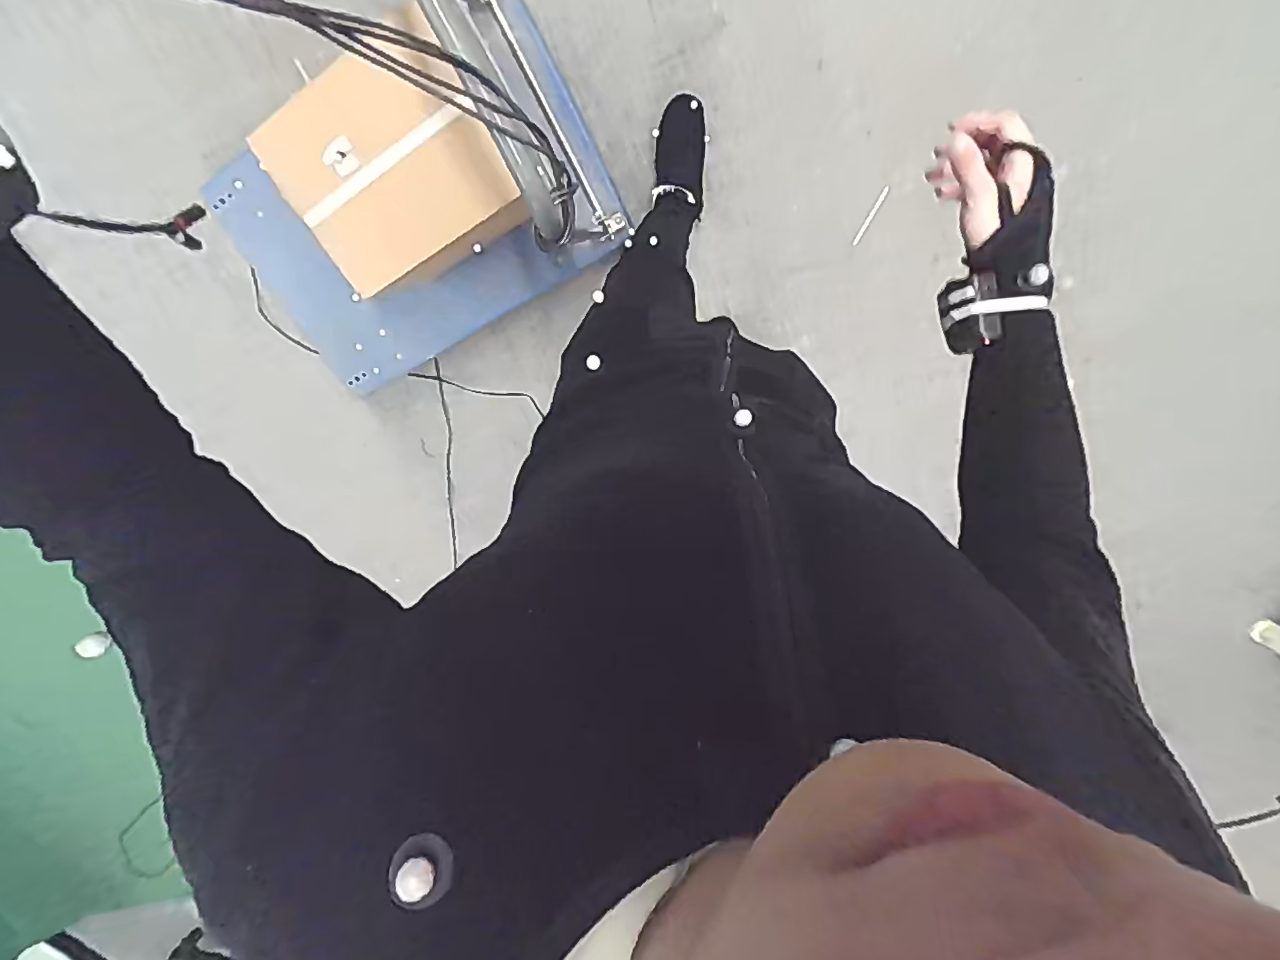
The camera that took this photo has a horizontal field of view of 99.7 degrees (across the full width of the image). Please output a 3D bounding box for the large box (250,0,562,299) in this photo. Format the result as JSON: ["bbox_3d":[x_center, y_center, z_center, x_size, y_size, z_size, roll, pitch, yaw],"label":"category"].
[{"bbox_3d":[-0.424,-0.619,1.069,0.408,0.320,0.320,-25,112,16],"label":"large box"}]
